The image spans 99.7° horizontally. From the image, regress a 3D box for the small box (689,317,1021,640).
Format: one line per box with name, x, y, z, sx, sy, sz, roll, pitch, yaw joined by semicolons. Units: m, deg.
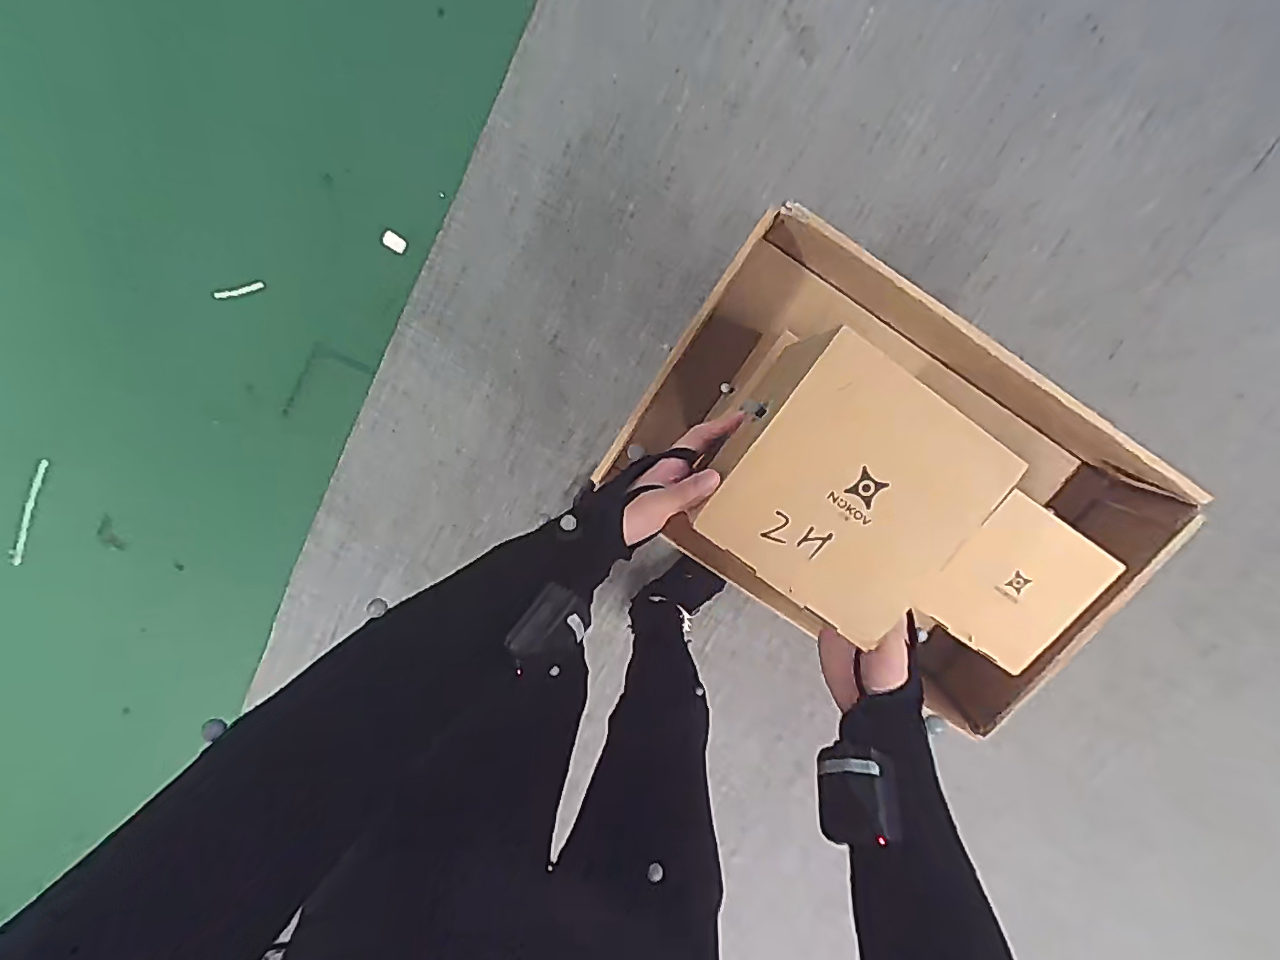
small box;0.152;-0.010;0.457;0.168;0.176;0.179;36;100;-3
